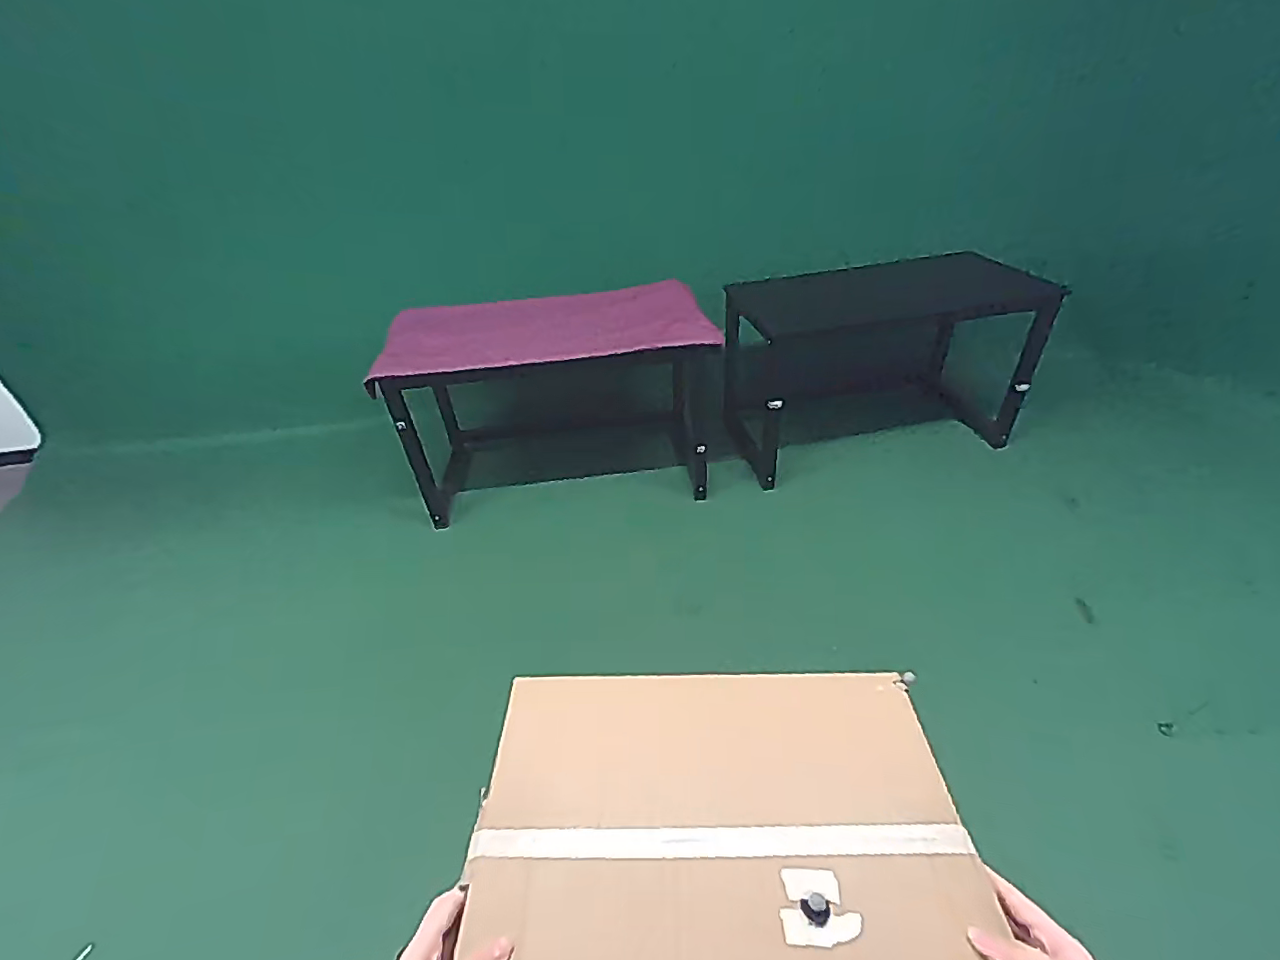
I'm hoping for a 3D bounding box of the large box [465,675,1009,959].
[{"bbox_3d":[0.070,0.422,0.545,0.408,0.320,0.320,0,37,1],"label":"large box"}]
